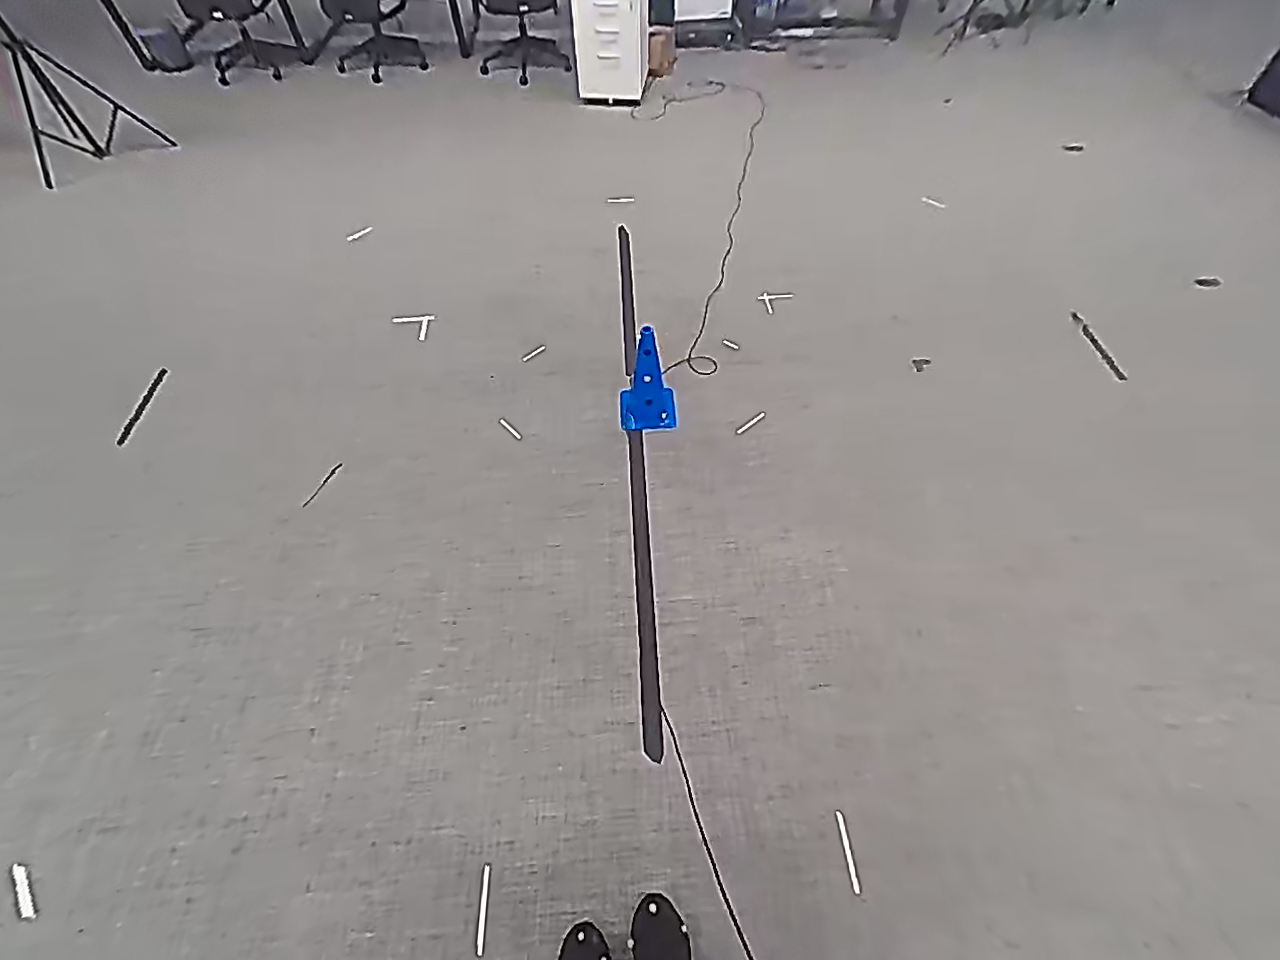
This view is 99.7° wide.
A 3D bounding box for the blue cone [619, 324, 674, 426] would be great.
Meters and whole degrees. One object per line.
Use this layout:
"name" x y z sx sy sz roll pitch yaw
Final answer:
"blue cone" 0.022 -0.370 1.827 0.193 0.380 0.192 -4 54 -3
